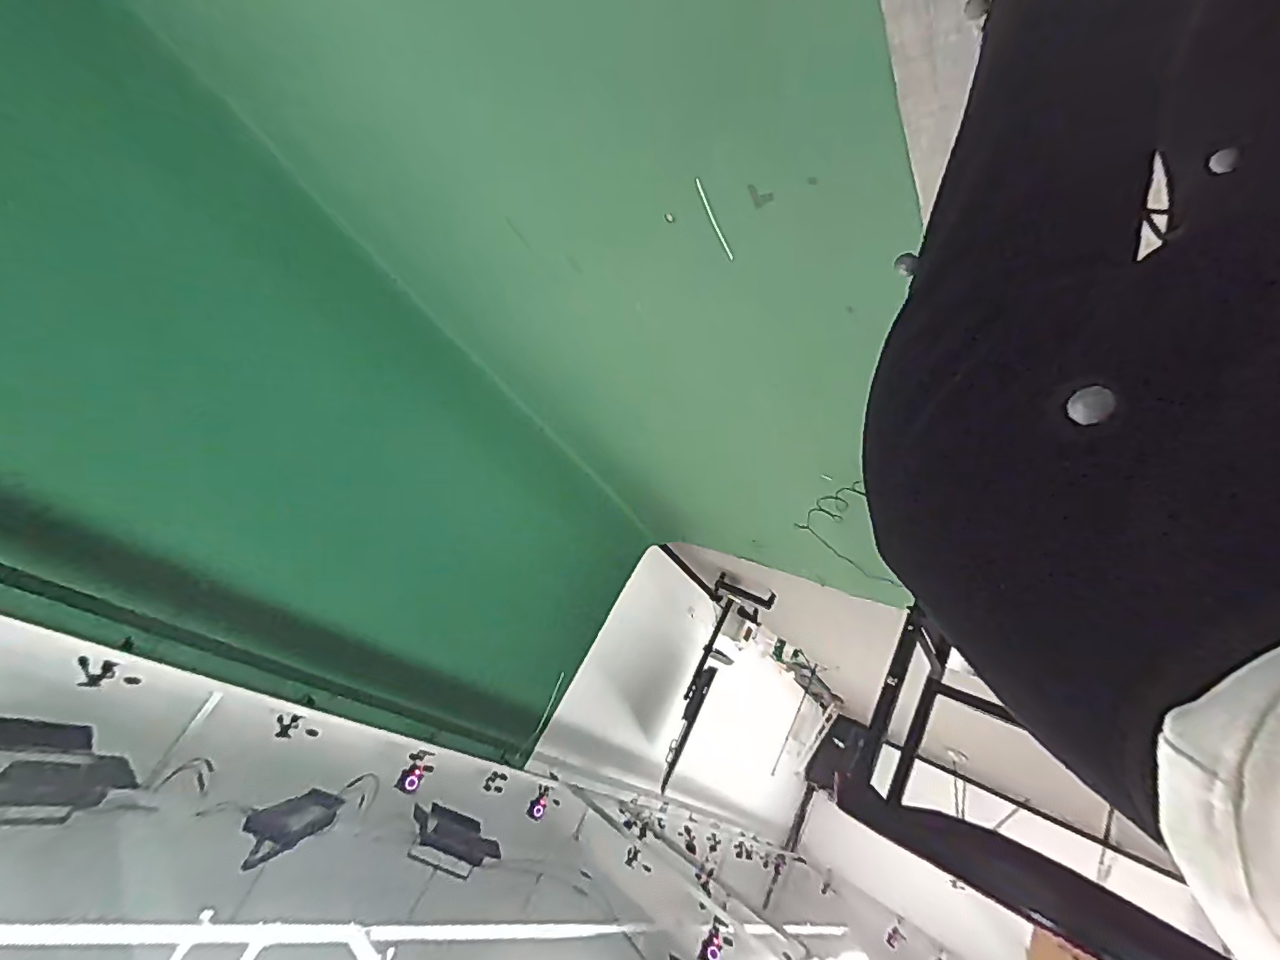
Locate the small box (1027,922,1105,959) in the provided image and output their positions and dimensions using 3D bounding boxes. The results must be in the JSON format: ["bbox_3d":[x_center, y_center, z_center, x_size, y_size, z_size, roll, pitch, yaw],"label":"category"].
[{"bbox_3d":[1.148,1.331,1.452,0.168,0.176,0.179,13,155,40],"label":"small box"}]
